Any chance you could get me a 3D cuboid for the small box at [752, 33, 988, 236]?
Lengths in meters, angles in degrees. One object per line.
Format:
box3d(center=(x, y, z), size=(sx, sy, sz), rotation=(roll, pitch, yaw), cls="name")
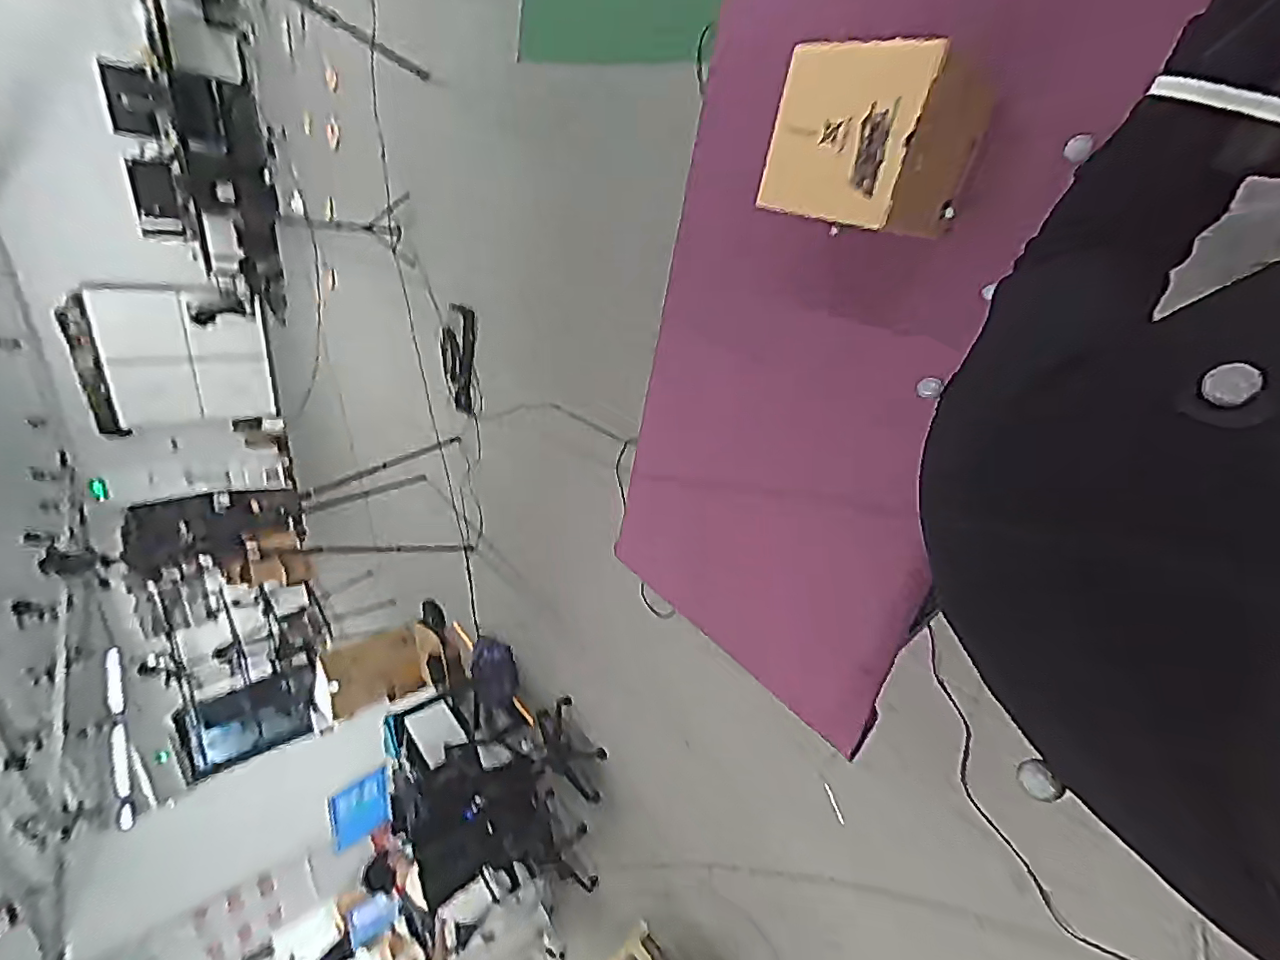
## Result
box3d(center=(0.272, -0.400, 0.644), size=(0.179, 0.176, 0.168), rotation=(38, 126, 35), cls="small box")
